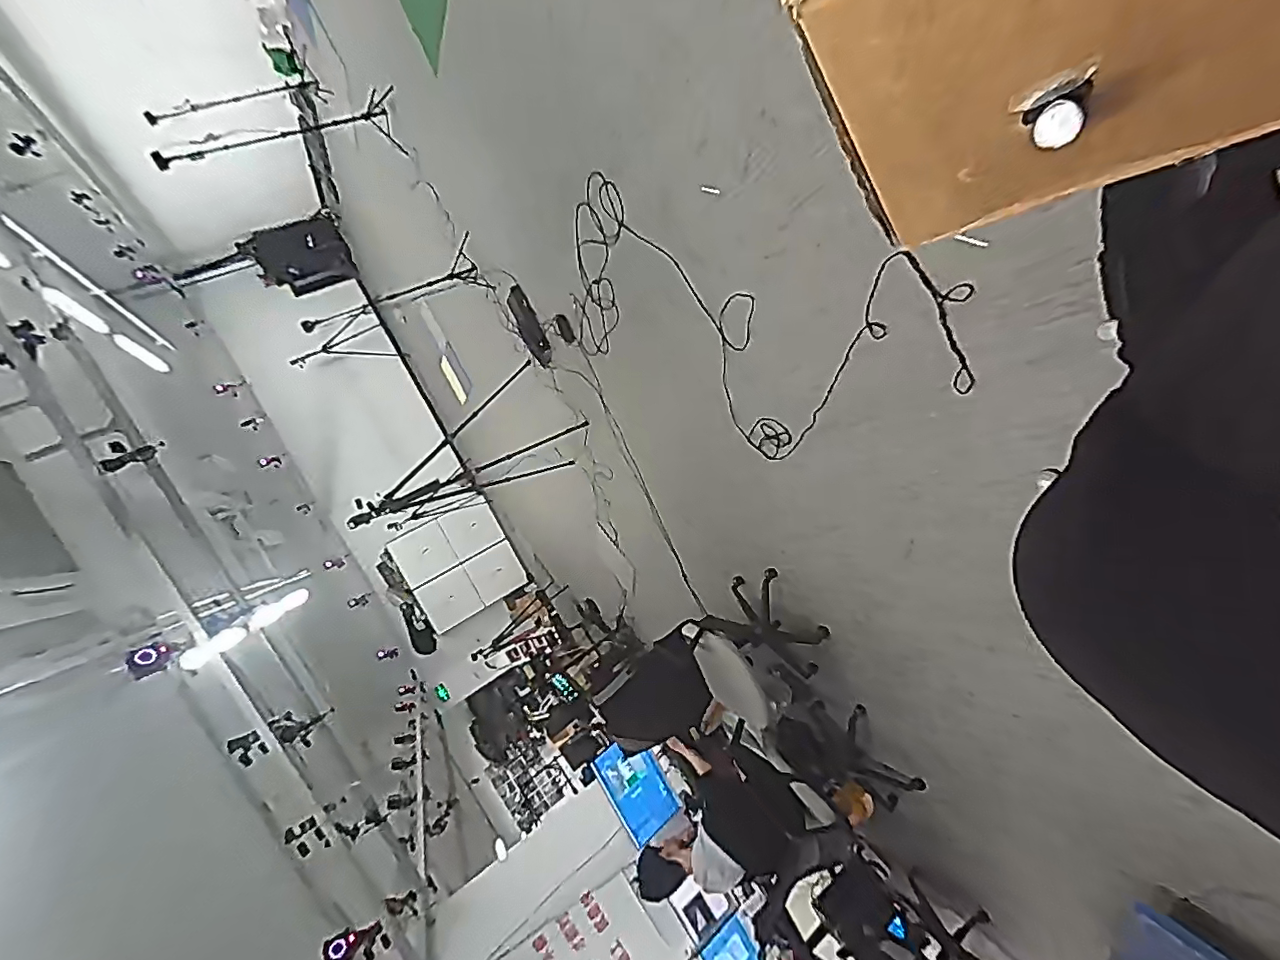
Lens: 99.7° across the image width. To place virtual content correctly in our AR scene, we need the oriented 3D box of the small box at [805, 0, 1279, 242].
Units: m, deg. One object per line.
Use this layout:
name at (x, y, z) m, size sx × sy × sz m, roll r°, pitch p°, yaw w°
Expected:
small box at (0.167, -0.226, 0.199) m, size 0.176 × 0.179 × 0.168 m, roll -8°, pitch 81°, yaw 36°
